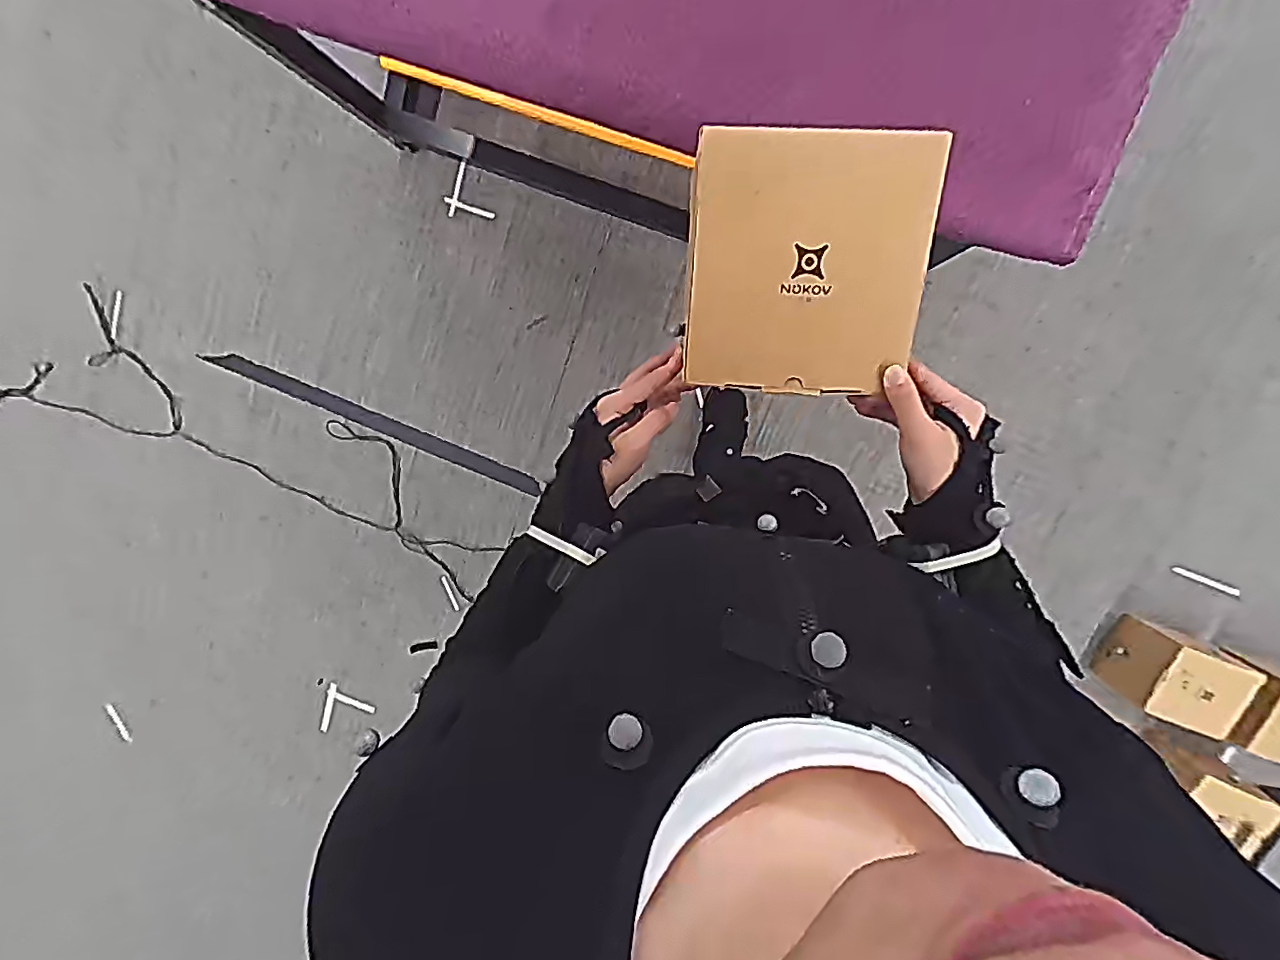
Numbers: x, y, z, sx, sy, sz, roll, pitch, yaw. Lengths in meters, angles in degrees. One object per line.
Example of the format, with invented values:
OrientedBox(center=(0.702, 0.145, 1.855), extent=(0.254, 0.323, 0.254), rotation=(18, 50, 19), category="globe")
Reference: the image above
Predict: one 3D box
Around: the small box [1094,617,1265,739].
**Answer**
OrientedBox(center=(1.196, 0.434, 1.215), extent=(0.179, 0.176, 0.168), rotation=(20, 102, 4), category="small box")

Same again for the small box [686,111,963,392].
OrientedBox(center=(0.127, -0.176, 0.450), extent=(0.168, 0.176, 0.179), rotation=(3, 108, 2), category="small box")

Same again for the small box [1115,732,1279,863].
OrientedBox(center=(1.284, 0.727, 1.258), extent=(0.179, 0.176, 0.168), rotation=(24, 103, 4), category="small box")
